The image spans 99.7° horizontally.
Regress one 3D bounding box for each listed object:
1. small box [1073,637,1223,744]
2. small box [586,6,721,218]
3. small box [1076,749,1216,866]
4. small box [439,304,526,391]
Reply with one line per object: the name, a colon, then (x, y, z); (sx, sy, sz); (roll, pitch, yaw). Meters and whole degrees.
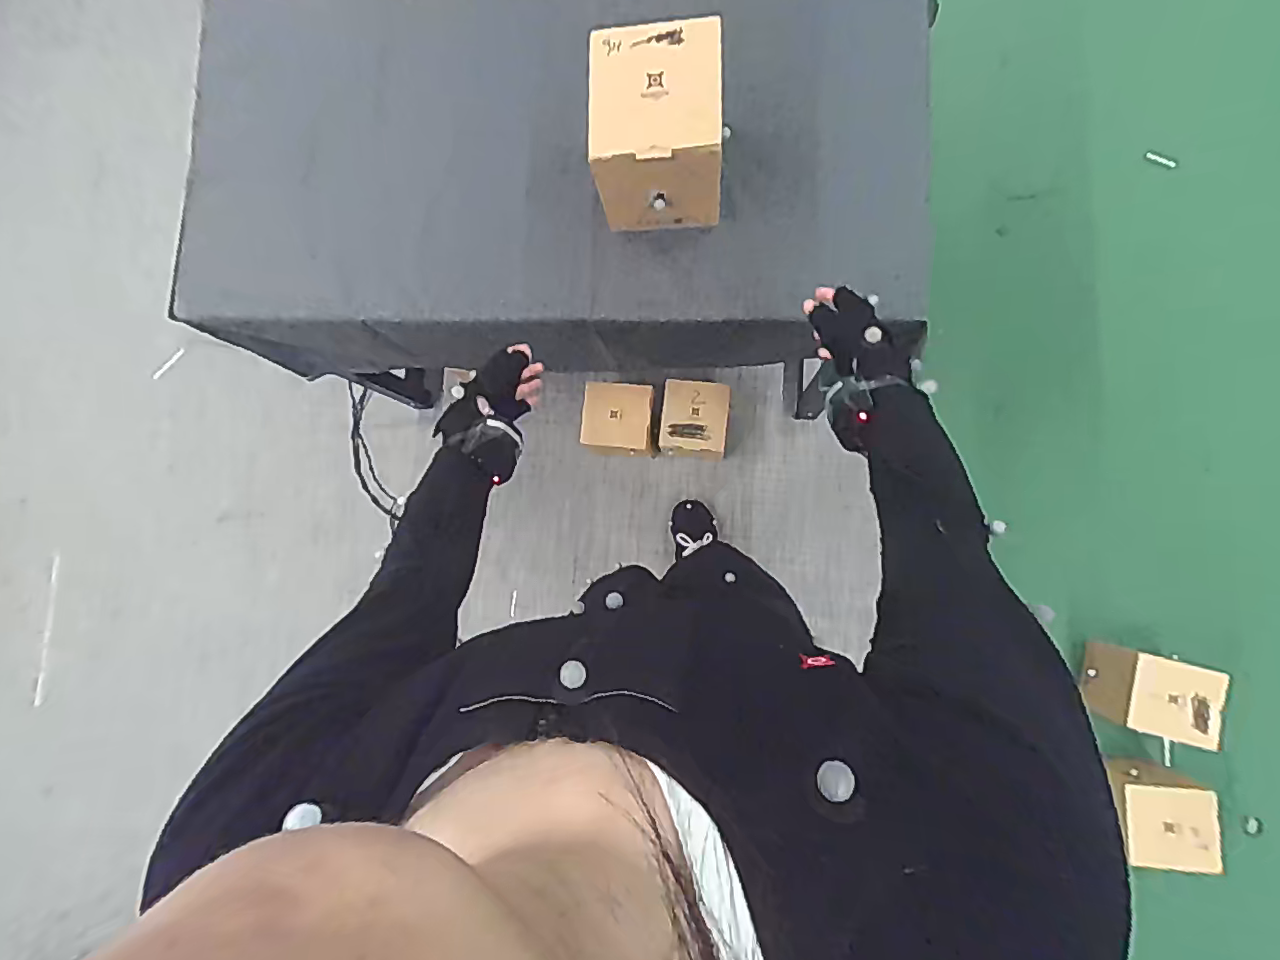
small box: (1.155, 0.471, 1.241); (0.179, 0.176, 0.168); (13, 86, 9)
small box: (0.025, -0.474, 0.729); (0.168, 0.176, 0.179); (0, 85, 6)
small box: (1.124, 0.727, 1.219); (0.179, 0.176, 0.168); (1, 85, 7)
small box: (-0.429, -0.363, 1.505); (0.168, 0.176, 0.179); (10, 85, 8)
